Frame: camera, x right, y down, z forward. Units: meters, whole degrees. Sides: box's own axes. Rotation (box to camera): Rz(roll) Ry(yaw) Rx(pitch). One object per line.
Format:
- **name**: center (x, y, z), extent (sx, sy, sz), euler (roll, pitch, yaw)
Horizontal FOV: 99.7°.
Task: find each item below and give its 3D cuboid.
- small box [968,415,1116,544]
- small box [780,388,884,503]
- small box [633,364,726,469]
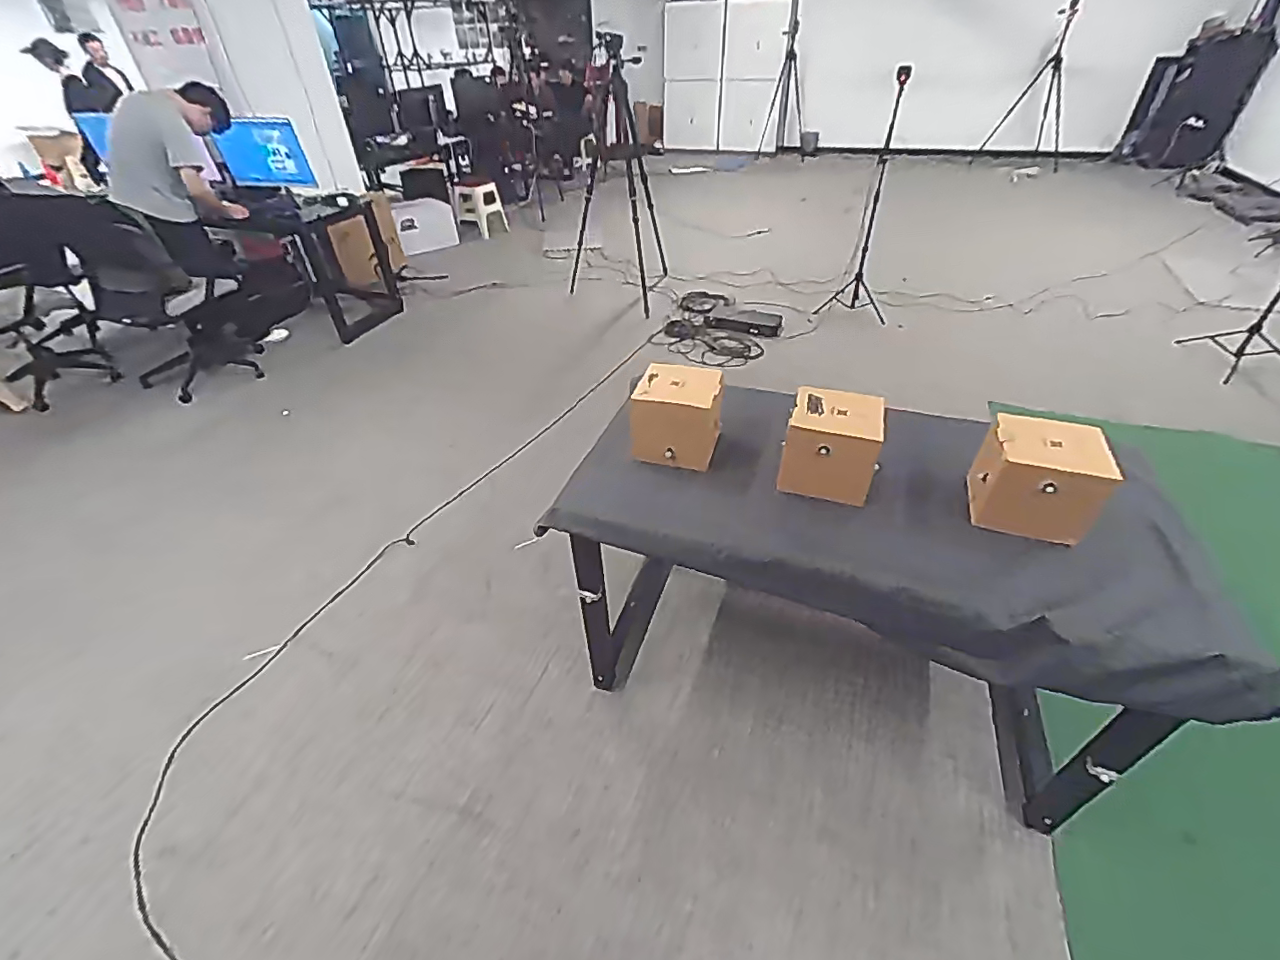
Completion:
- **small box**: center (0.755, 0.000, 1.042), extent (0.179, 0.176, 0.168), euler (13, 43, 17)
- **small box**: center (0.401, -0.072, 1.142), extent (0.179, 0.176, 0.168), euler (12, 41, 16)
- **small box**: center (0.091, -0.144, 1.243), extent (0.179, 0.176, 0.168), euler (10, 41, 14)
